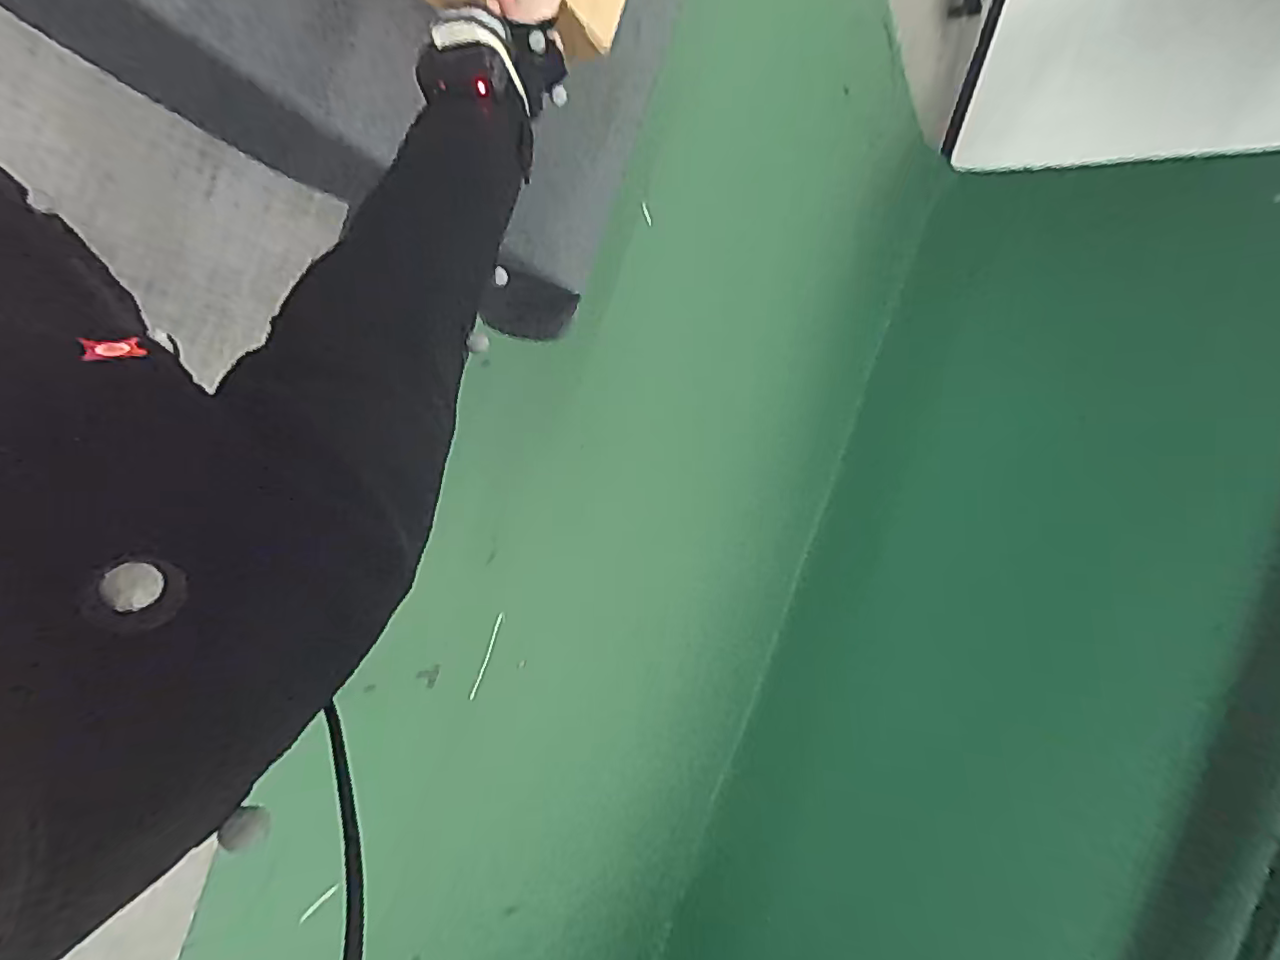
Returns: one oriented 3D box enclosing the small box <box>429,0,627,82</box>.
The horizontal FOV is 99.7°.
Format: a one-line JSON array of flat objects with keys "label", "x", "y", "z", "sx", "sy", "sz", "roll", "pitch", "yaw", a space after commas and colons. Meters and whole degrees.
[{"label": "small box", "x": -0.116, "y": -0.549, "z": 0.544, "sx": 0.168, "sy": 0.176, "sz": 0.179, "roll": 16, "pitch": 92, "yaw": -53}]
